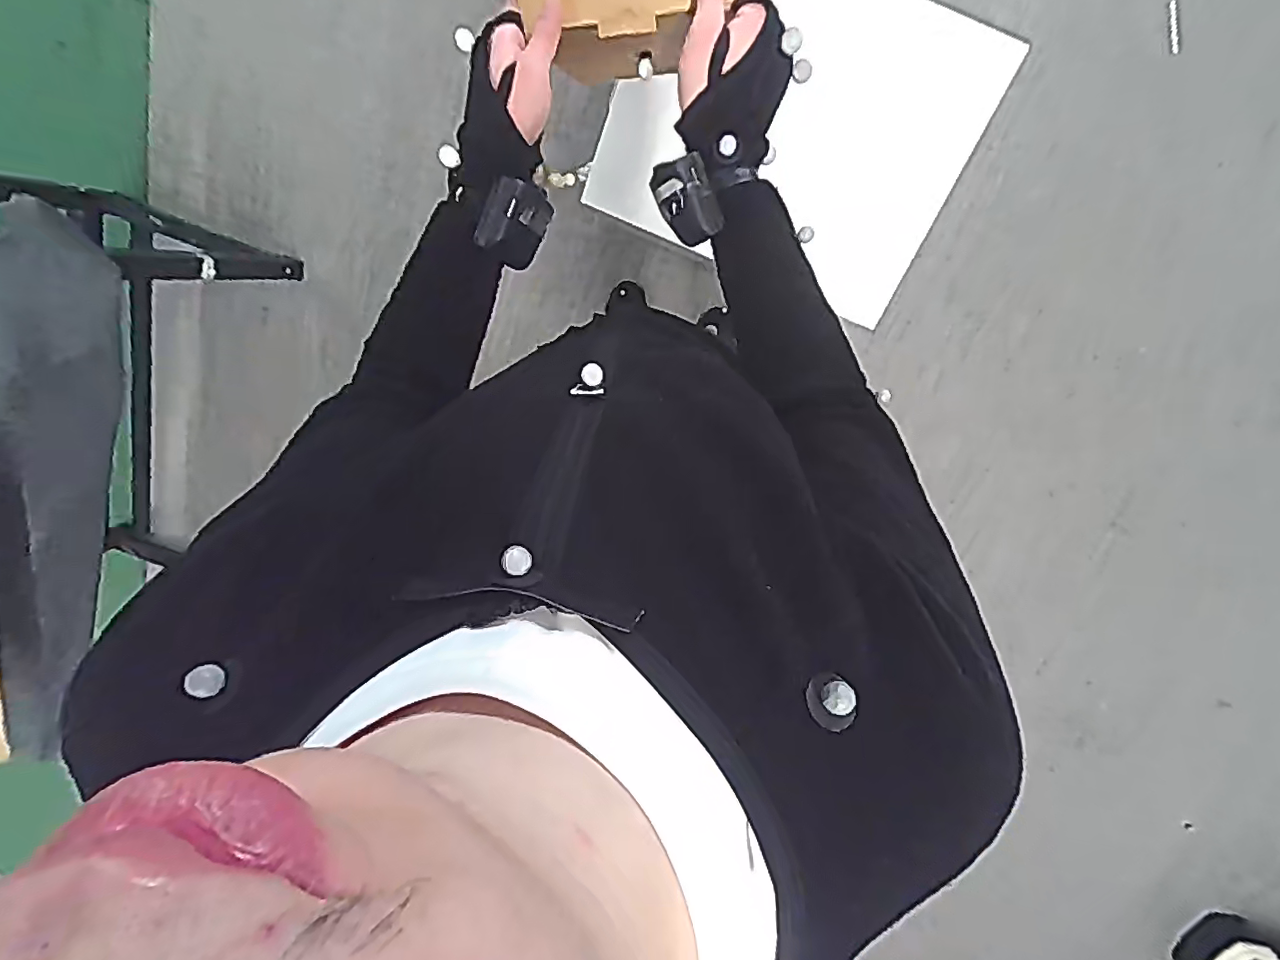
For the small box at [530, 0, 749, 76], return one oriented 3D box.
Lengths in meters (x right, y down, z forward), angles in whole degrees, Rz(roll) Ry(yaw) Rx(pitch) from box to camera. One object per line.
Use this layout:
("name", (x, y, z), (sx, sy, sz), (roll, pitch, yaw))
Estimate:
("small box", (0.004, -0.458, 0.443), (0.168, 0.176, 0.179), (-2, 115, 12))
